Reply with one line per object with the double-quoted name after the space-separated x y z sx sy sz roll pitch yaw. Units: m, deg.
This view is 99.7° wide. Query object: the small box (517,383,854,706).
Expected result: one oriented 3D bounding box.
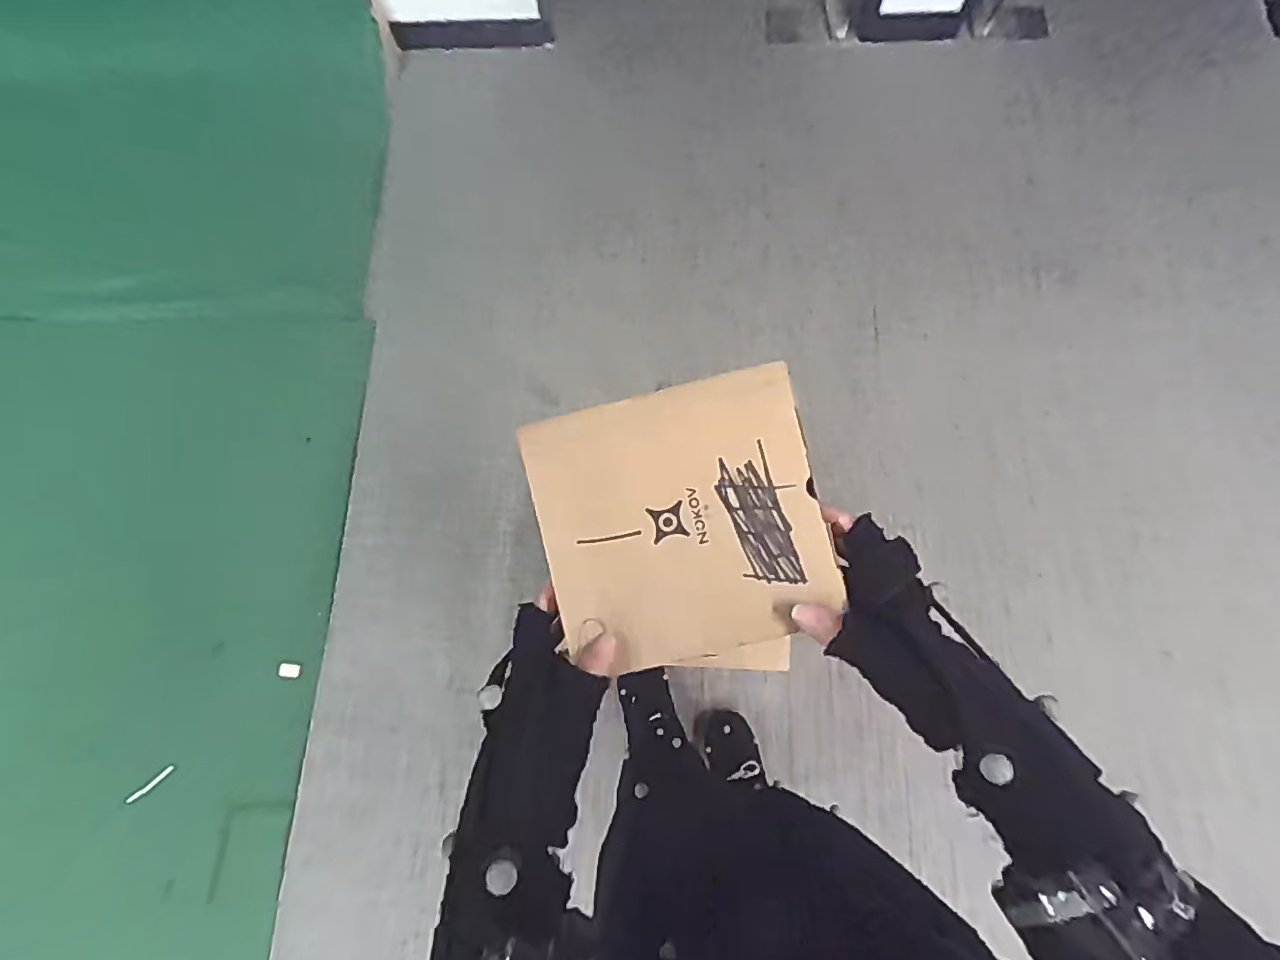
0.028 0.040 0.406 0.179 0.176 0.168 -15 87 2 "small box"
